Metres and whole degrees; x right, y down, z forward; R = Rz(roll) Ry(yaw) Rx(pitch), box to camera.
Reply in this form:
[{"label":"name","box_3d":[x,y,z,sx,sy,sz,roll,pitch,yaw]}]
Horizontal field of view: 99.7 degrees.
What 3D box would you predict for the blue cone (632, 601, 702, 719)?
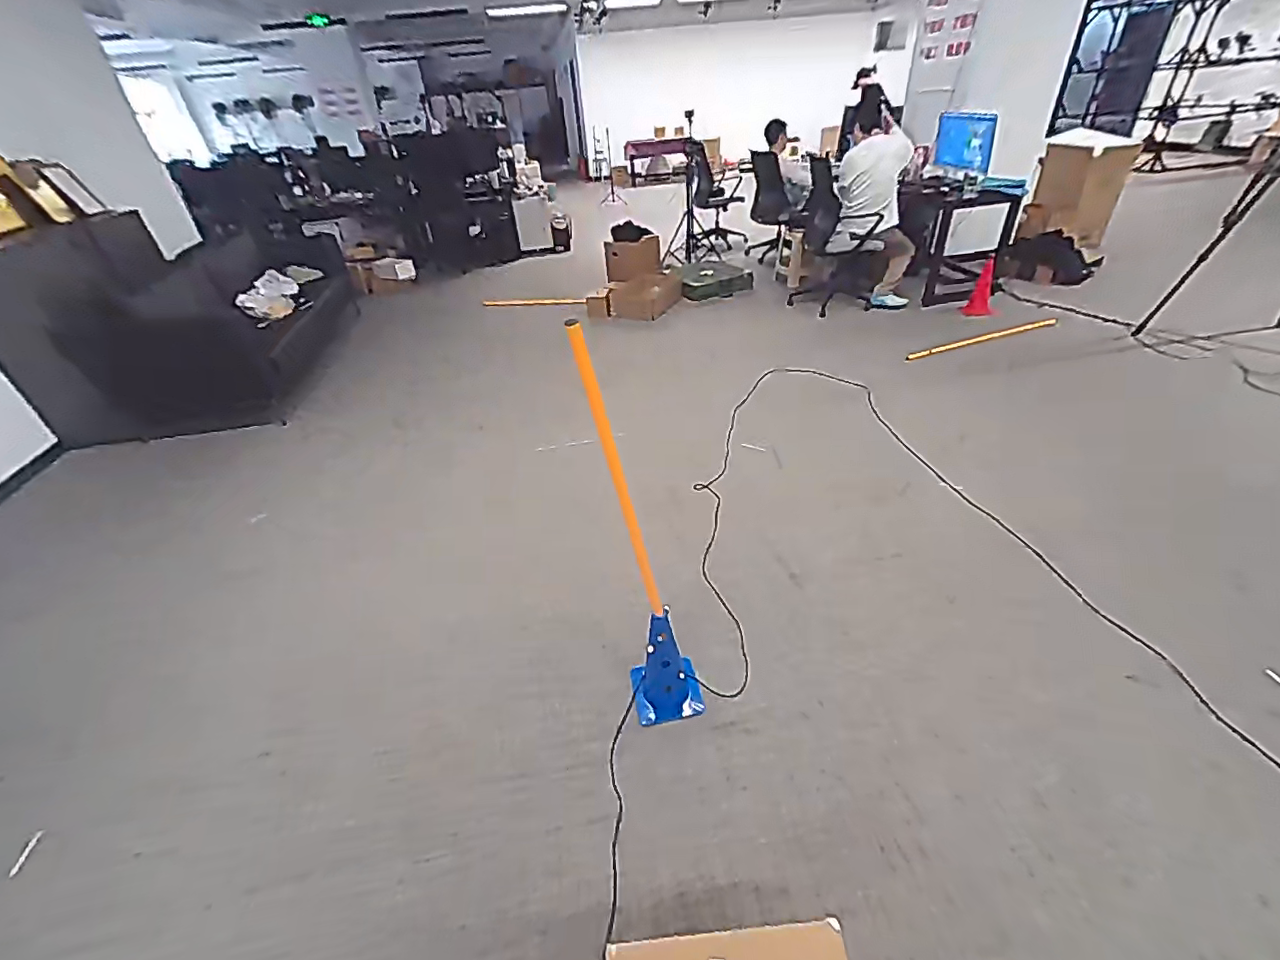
[{"label":"blue cone","box_3d":[0.065,0.495,1.550,0.193,0.380,0.192,-12,36,-7]}]
